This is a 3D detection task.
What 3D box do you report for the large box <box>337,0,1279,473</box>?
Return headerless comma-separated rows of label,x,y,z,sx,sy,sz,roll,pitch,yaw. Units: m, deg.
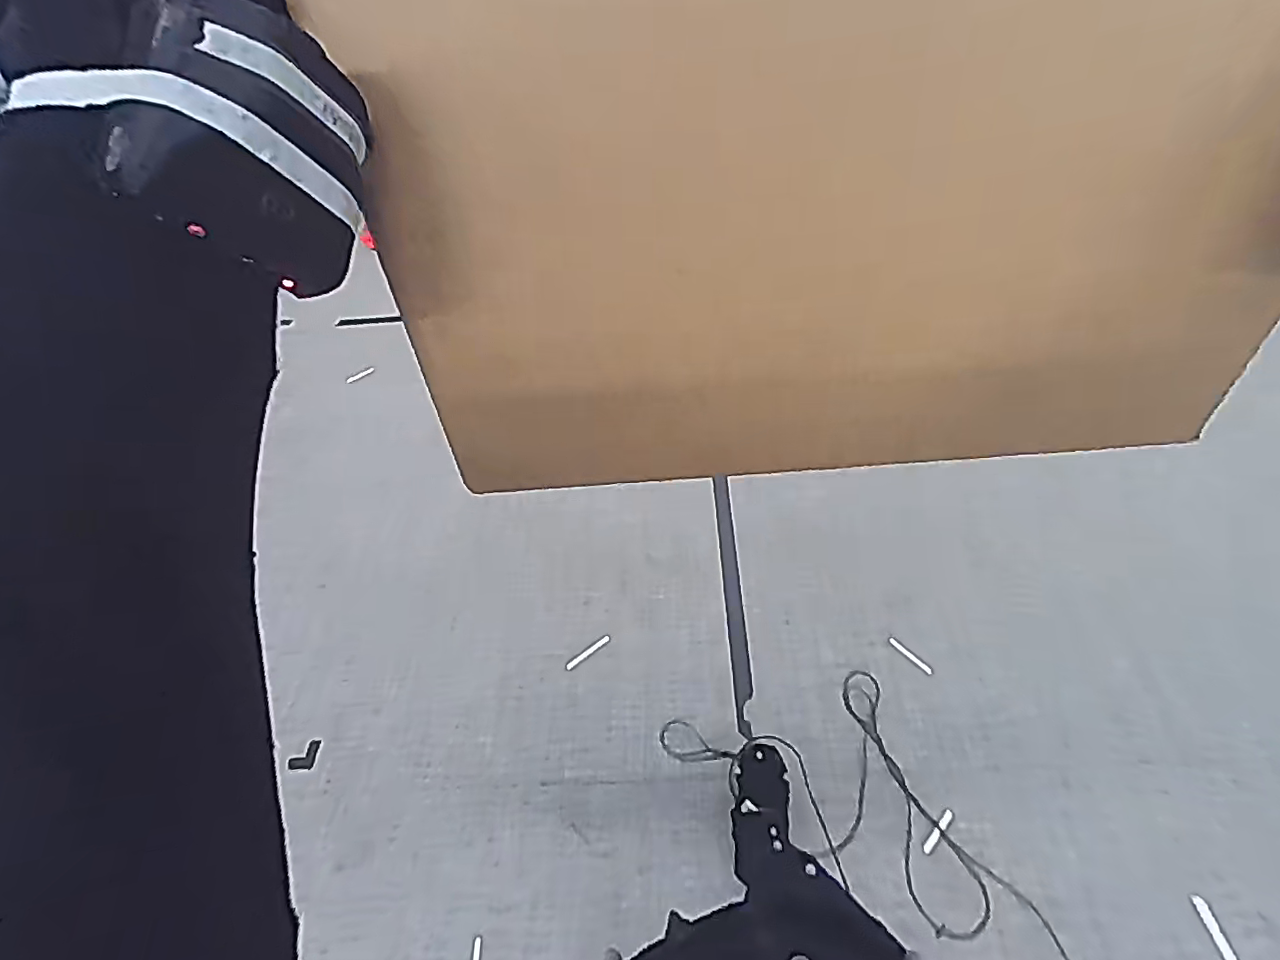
large box,0.086,-0.226,0.338,0.408,0.320,0.320,-4,40,1
